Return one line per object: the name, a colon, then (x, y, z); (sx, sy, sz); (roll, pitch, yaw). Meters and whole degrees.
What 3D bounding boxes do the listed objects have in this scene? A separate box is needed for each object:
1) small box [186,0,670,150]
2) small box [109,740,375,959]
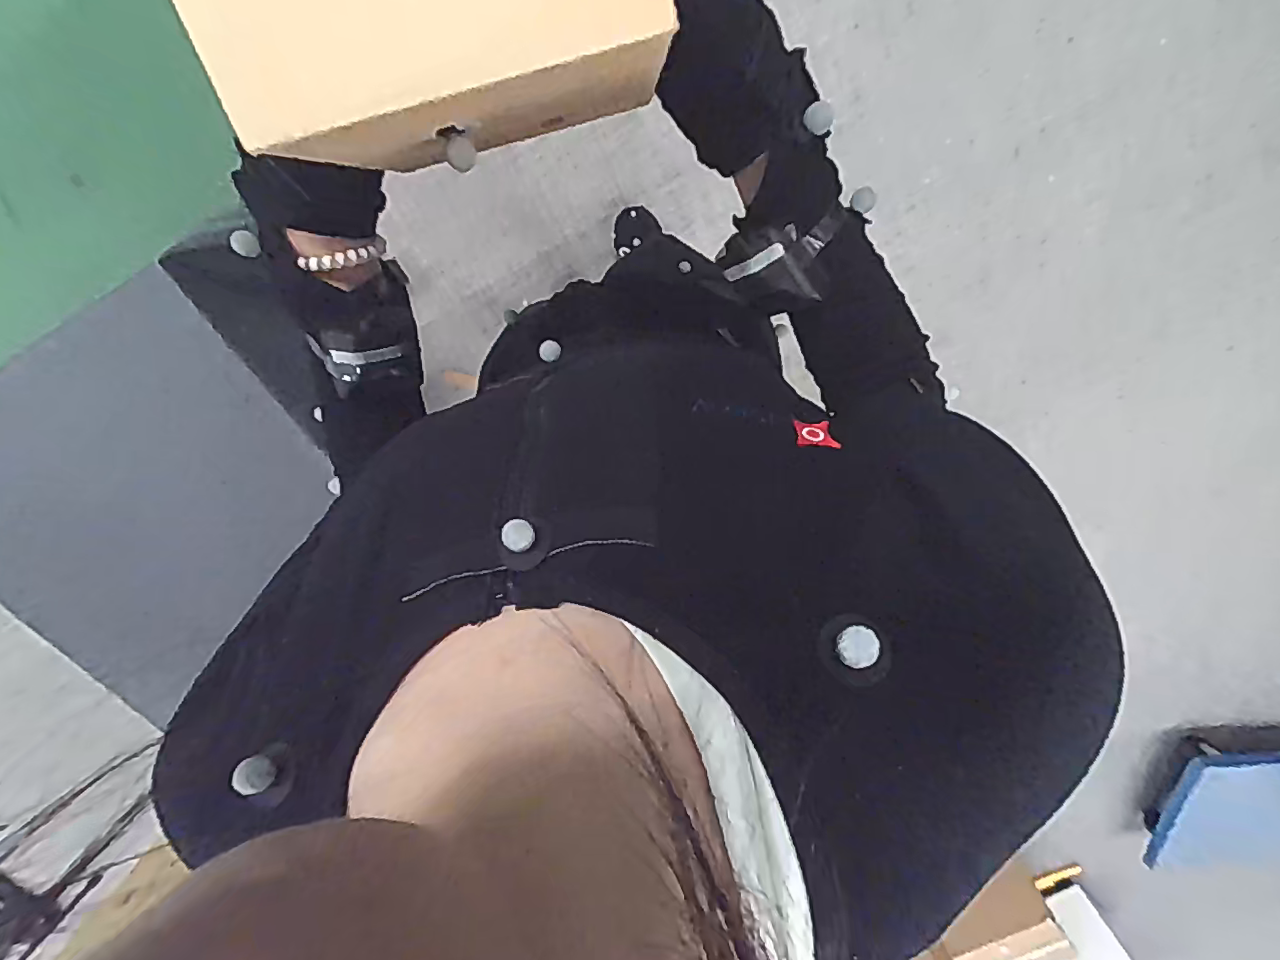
small box: (-0.086, -0.257, 0.228); (0.168, 0.176, 0.179); (-13, 115, 5)
small box: (-0.489, 0.467, 0.696); (0.168, 0.176, 0.179); (-28, 111, 12)
